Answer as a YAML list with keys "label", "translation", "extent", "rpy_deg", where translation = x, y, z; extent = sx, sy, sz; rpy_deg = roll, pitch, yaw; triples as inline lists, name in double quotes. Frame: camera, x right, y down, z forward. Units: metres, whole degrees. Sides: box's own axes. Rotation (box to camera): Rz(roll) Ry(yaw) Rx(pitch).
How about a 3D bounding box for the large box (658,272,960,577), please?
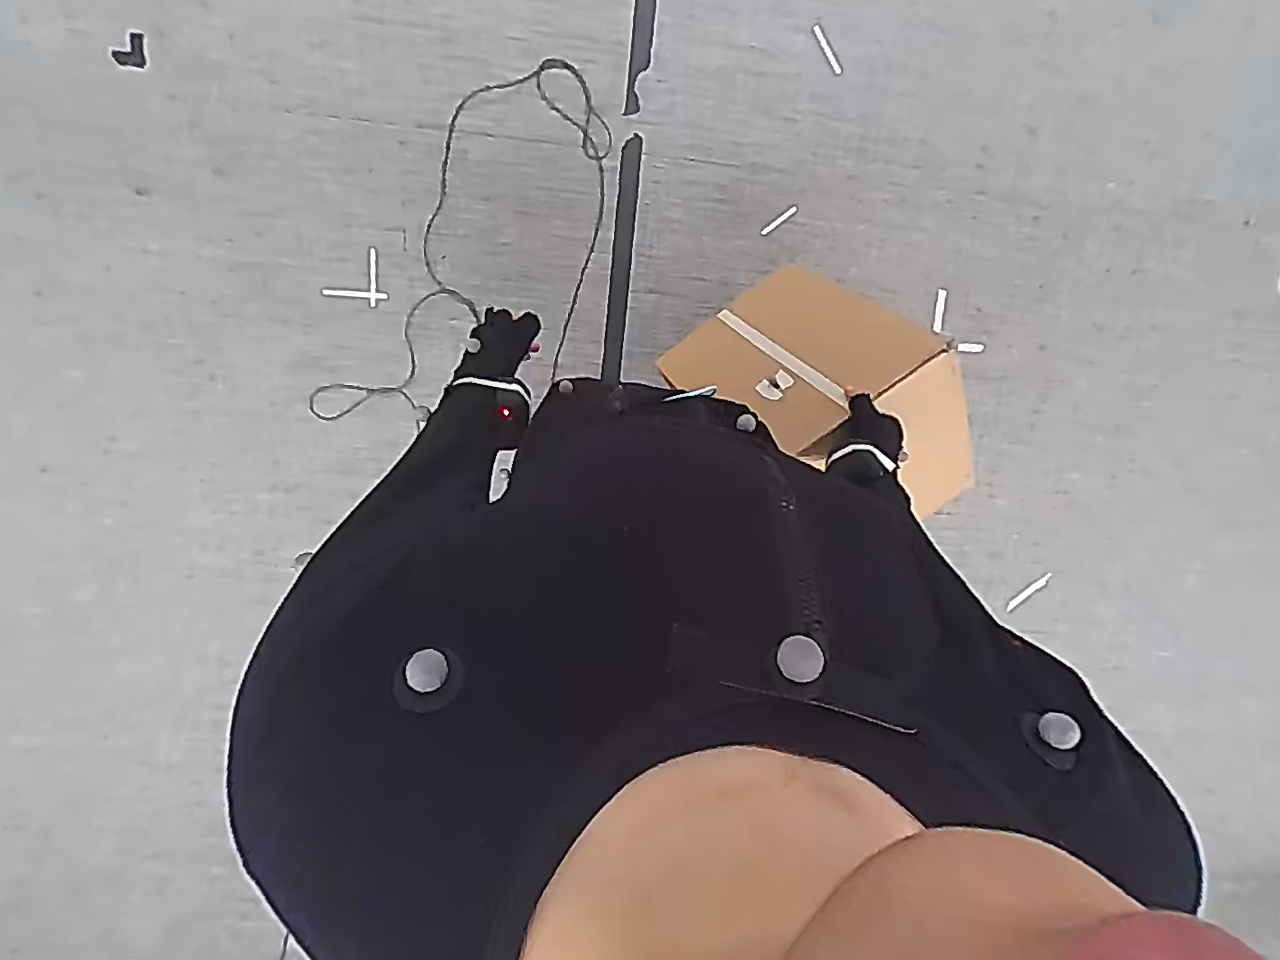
- label: "large box"
  translation: [0.292, -0.110, 0.978]
  extent: [0.320, 0.408, 0.320]
  rpy_deg: [-35, 131, 4]
